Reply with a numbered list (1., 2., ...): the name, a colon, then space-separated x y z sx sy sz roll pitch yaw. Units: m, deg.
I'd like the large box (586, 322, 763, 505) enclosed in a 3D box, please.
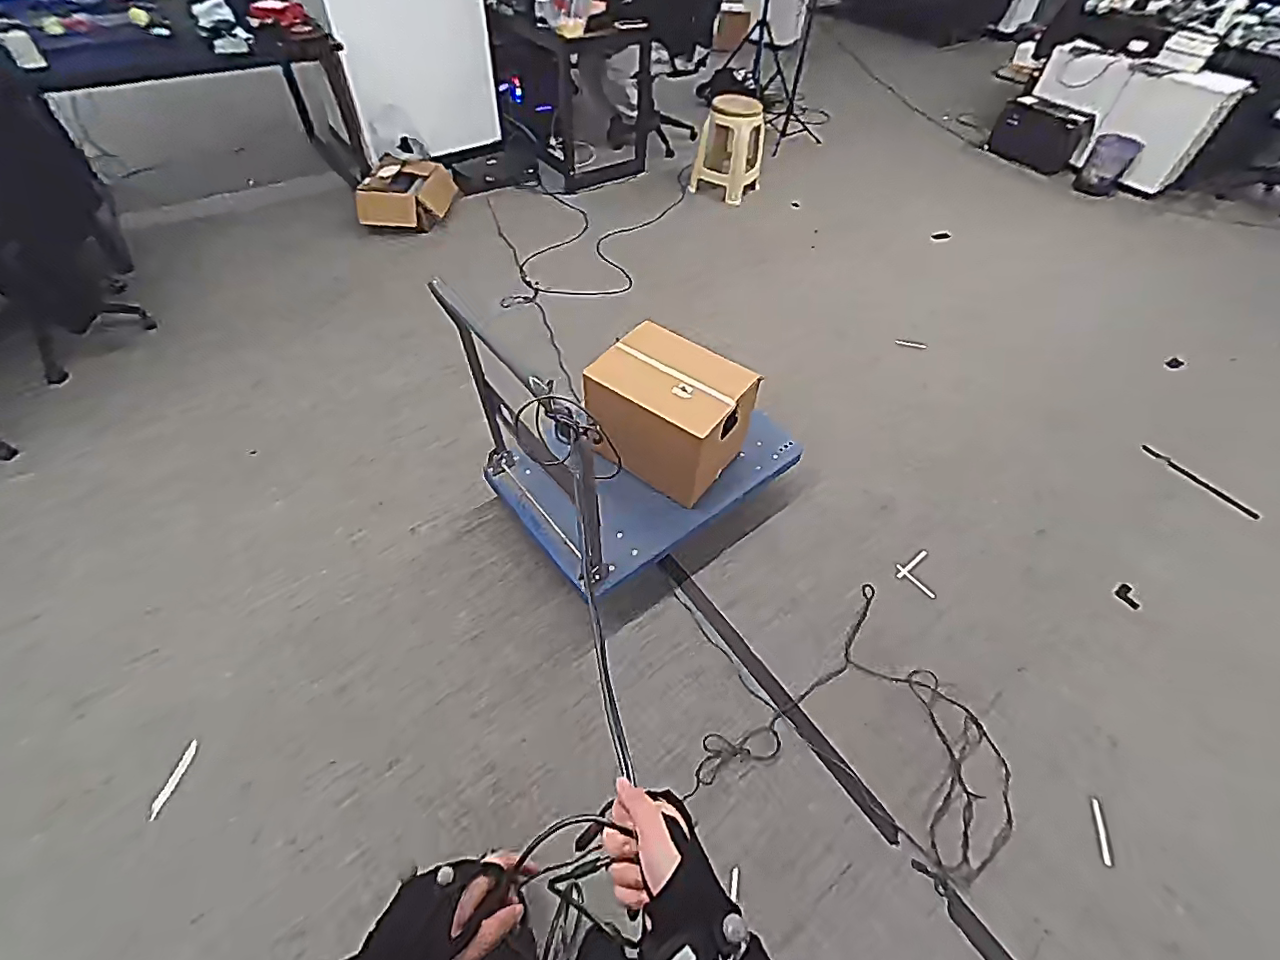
1. large box: 0.088 -0.199 1.613 0.408 0.320 0.320 32 58 19
